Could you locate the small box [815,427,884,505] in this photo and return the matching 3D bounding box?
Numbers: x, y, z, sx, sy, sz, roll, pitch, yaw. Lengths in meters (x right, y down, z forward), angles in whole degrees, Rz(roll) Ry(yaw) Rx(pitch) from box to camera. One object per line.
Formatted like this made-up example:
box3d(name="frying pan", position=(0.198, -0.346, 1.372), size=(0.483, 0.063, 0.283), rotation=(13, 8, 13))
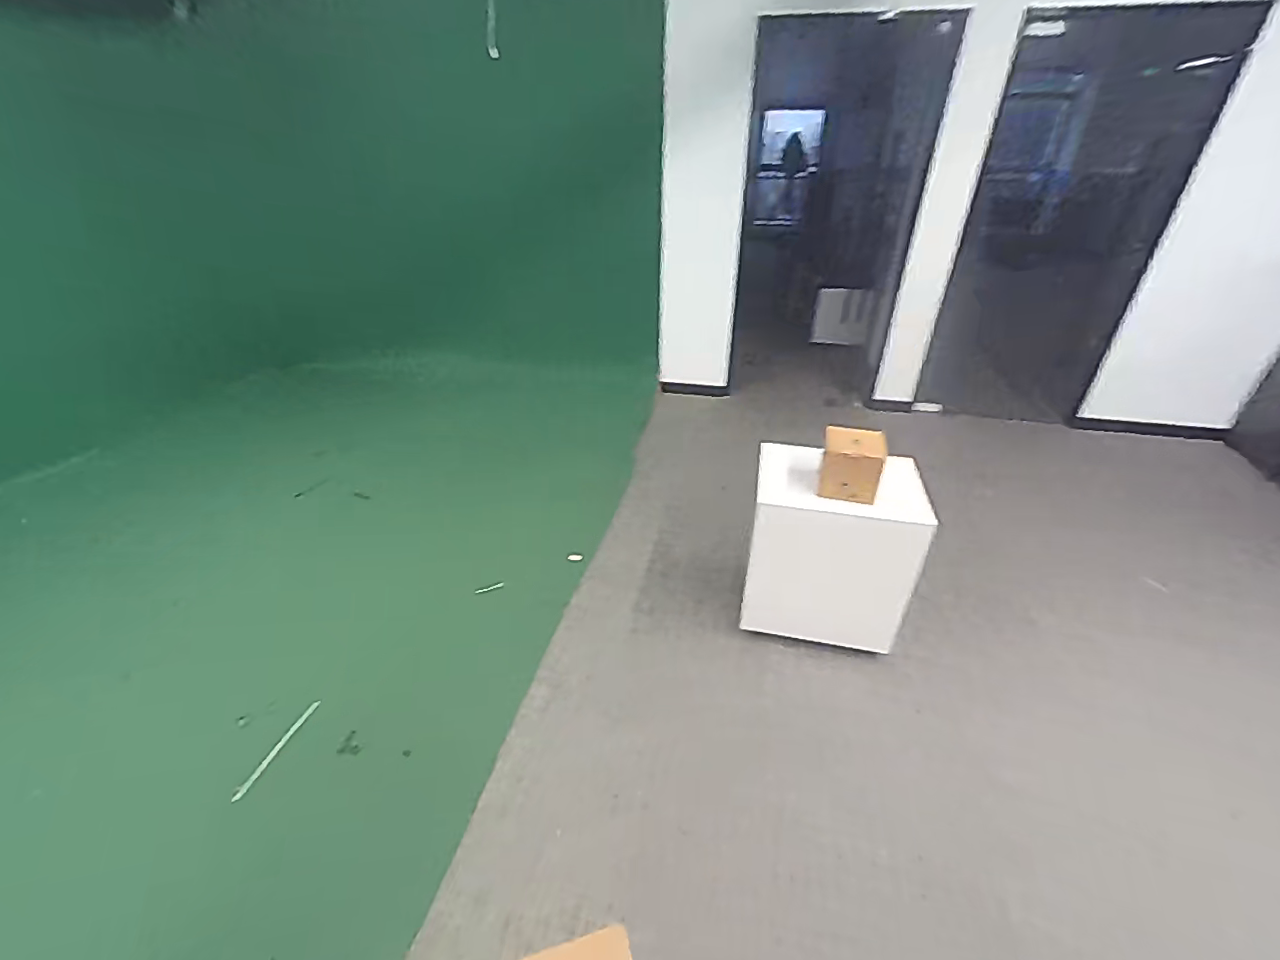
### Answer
box3d(name="small box", position=(0.644, -0.046, 1.679), size=(0.168, 0.176, 0.179), rotation=(8, 32, 13))
